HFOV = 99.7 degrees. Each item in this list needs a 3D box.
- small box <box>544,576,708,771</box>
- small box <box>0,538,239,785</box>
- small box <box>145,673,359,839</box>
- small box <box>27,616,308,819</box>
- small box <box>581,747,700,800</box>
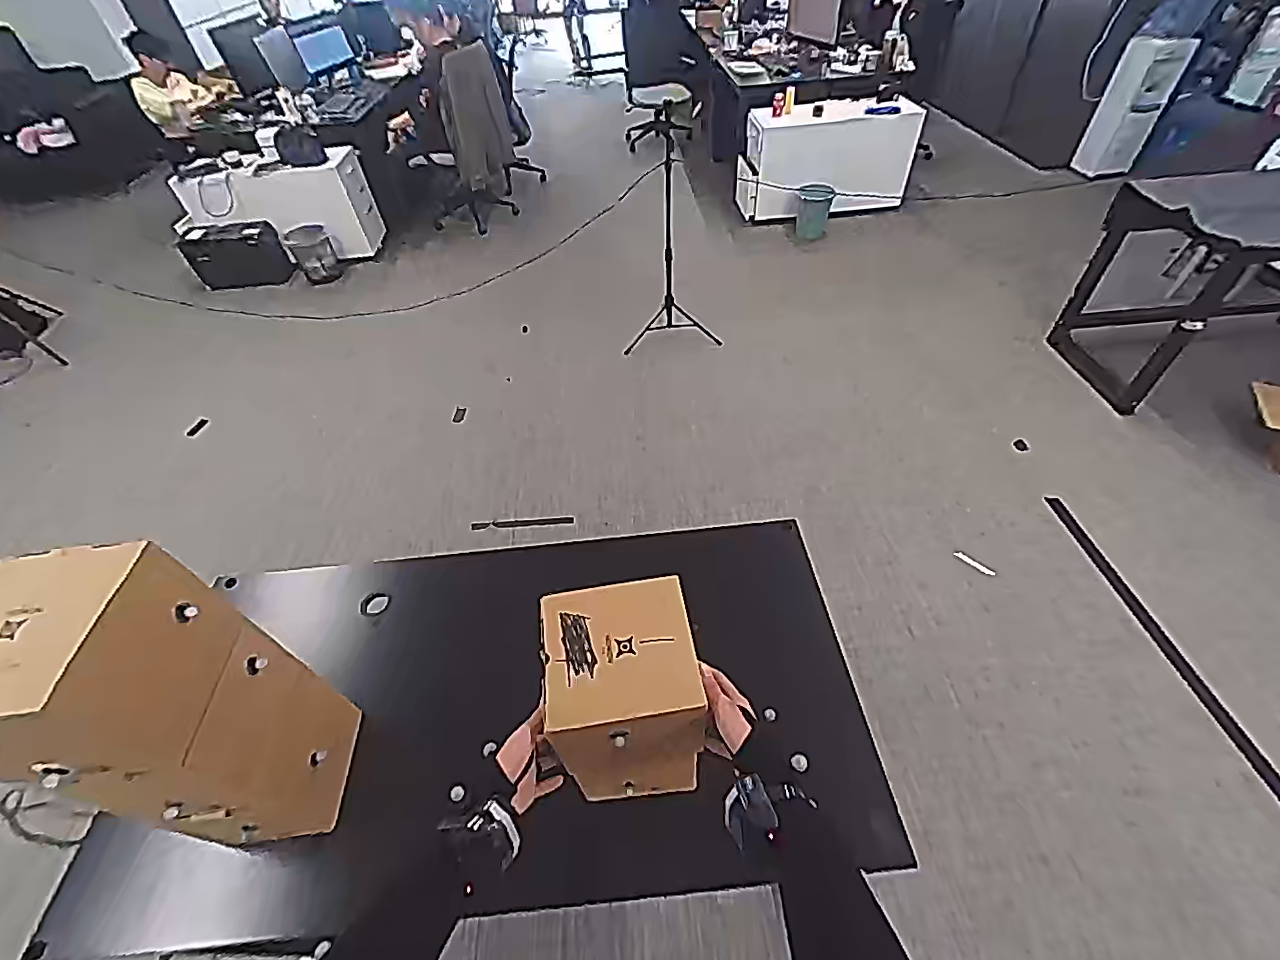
[{"bbox_3d":[-0.017,0.243,0.673,0.179,0.176,0.168,-8,48,-3],"label":"small box"},{"bbox_3d":[-0.558,0.184,0.548,0.168,0.176,0.179,-7,48,-1],"label":"small box"},{"bbox_3d":[-0.540,0.407,0.788,0.168,0.176,0.179,-7,48,-2],"label":"small box"},{"bbox_3d":[-0.550,0.294,0.668,0.168,0.176,0.179,-7,47,-1],"label":"small box"},{"bbox_3d":[-0.007,0.349,0.799,0.168,0.176,0.179,-6,48,-1],"label":"small box"}]
